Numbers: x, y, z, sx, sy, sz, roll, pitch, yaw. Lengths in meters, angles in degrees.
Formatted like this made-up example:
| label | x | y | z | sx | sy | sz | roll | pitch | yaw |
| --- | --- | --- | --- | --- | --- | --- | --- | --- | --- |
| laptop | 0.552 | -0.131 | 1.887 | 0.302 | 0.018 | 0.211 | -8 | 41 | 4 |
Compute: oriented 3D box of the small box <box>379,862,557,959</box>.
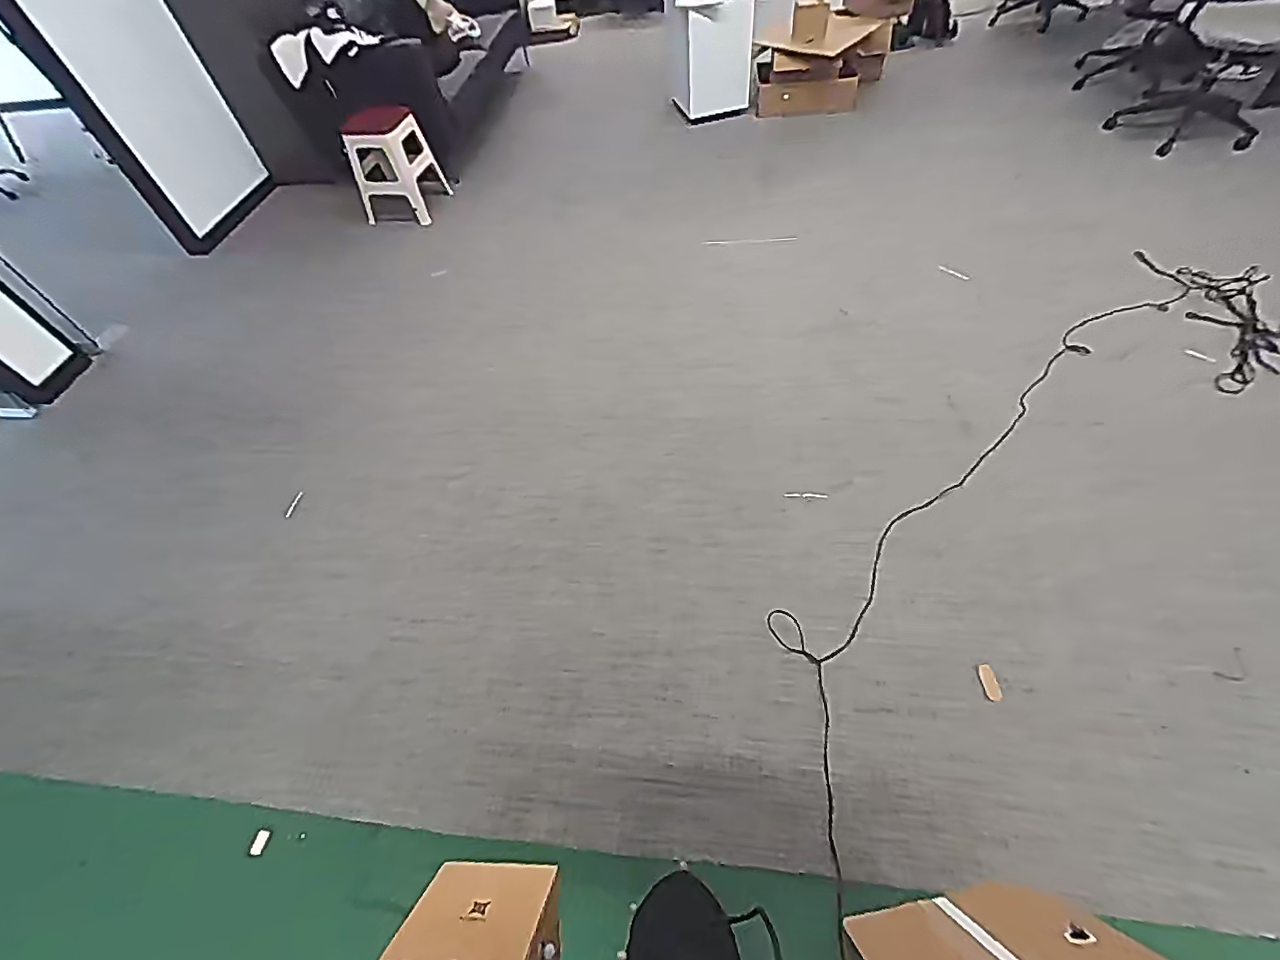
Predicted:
| label | x | y | z | sx | sy | sz | roll | pitch | yaw |
| --- | --- | --- | --- | --- | --- | --- | --- | --- | --- |
| small box | -0.205 | 0.622 | 0.674 | 0.168 | 0.179 | 0.176 | -1 | 89 | 5 |
